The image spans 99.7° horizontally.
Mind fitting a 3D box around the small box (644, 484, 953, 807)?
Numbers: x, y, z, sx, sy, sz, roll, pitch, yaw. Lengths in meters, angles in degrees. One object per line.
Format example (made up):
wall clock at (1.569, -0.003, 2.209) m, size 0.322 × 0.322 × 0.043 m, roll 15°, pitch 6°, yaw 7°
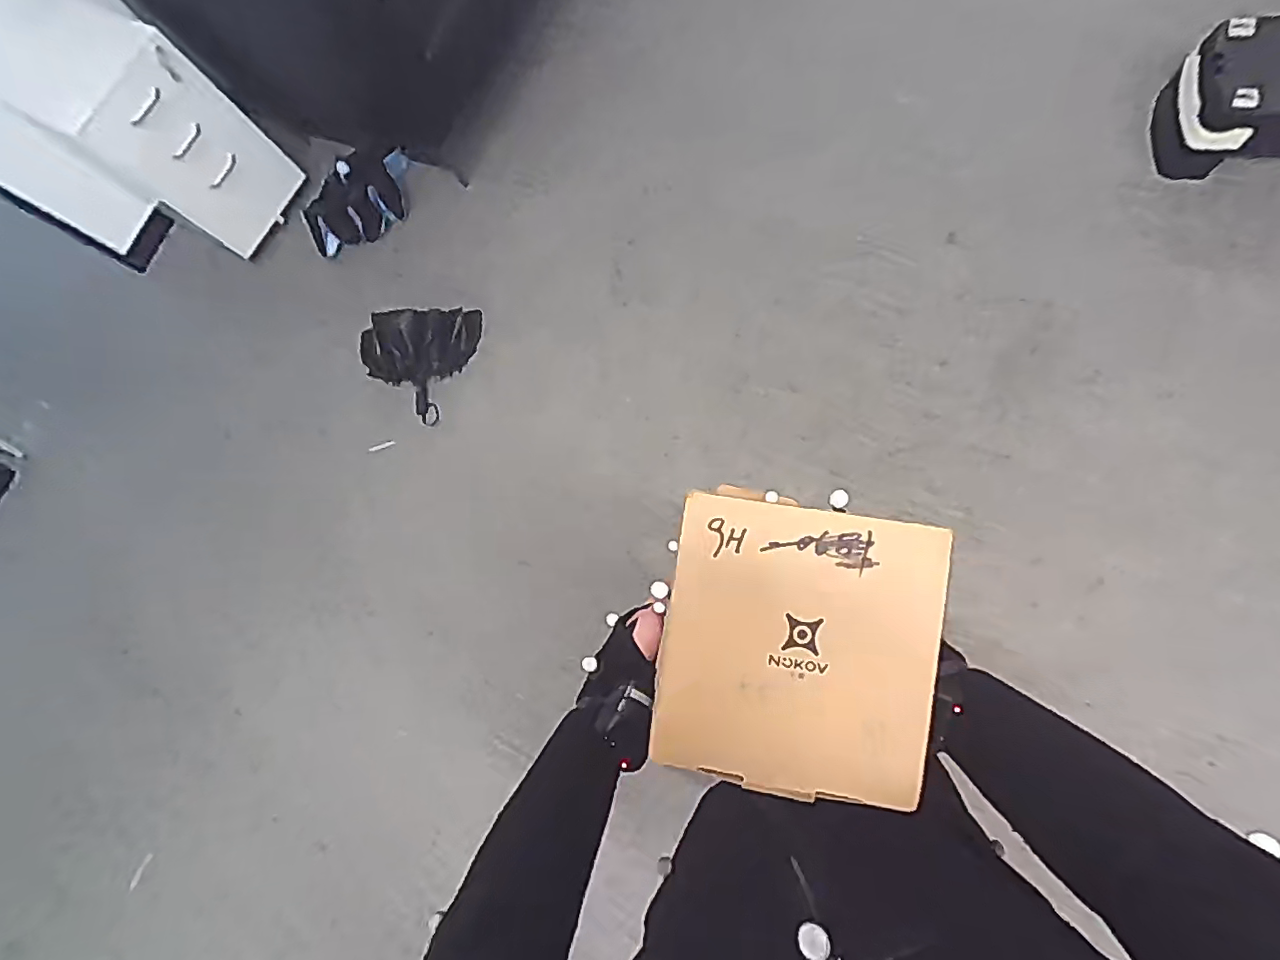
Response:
small box at (0.102, 0.100, 0.409) m, size 0.168 × 0.176 × 0.179 m, roll 8°, pitch 90°, yaw 5°
